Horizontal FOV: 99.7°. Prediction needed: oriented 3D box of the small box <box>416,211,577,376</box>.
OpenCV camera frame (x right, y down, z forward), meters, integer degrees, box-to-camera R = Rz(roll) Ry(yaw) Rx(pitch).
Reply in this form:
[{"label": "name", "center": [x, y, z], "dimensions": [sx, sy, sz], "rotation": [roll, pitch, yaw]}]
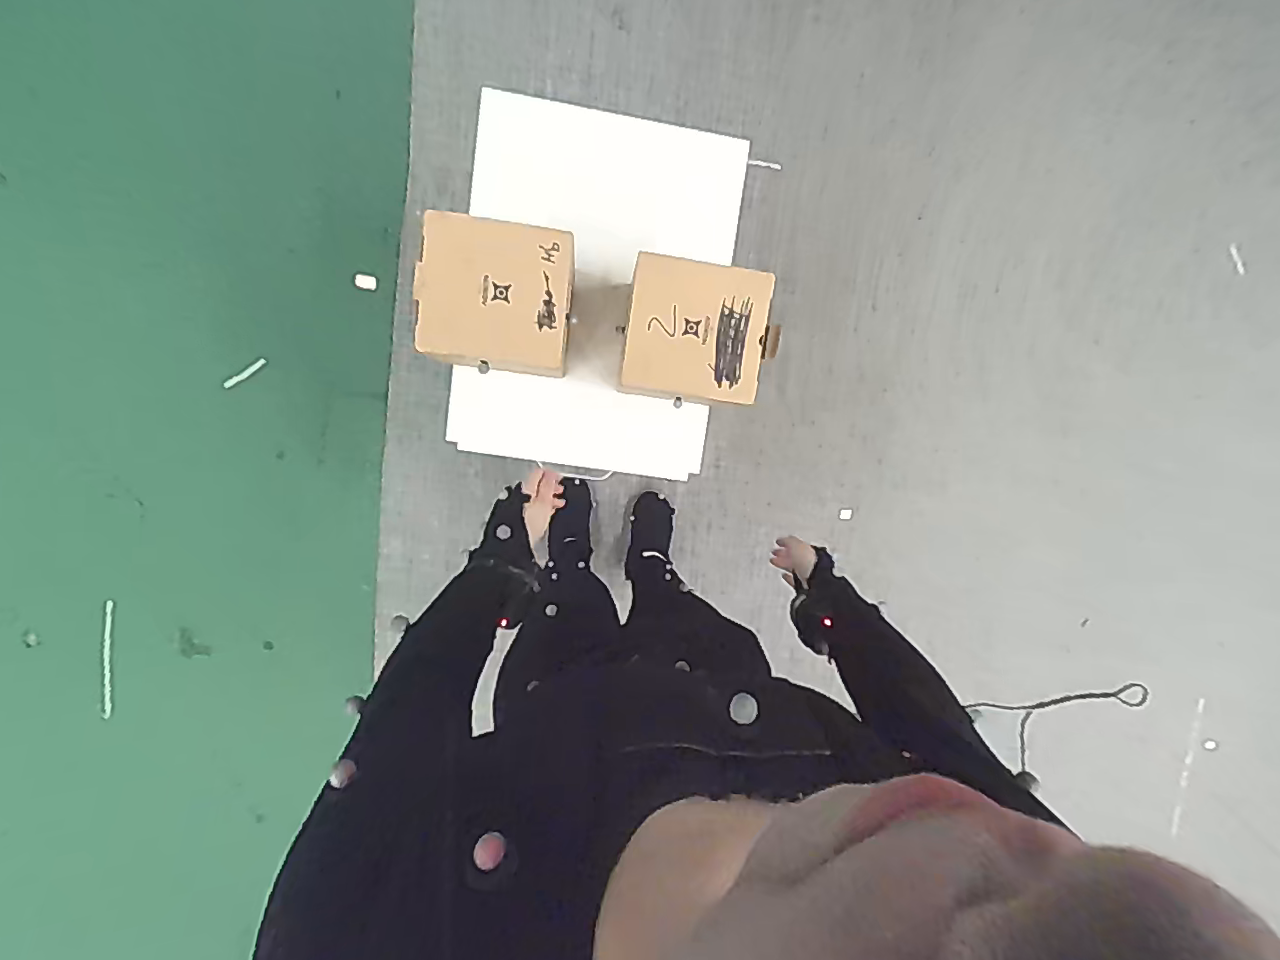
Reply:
[{"label": "small box", "center": [-0.181, -0.235, 0.726], "dimensions": [0.179, 0.176, 0.168], "rotation": [6, 96, -7]}]
